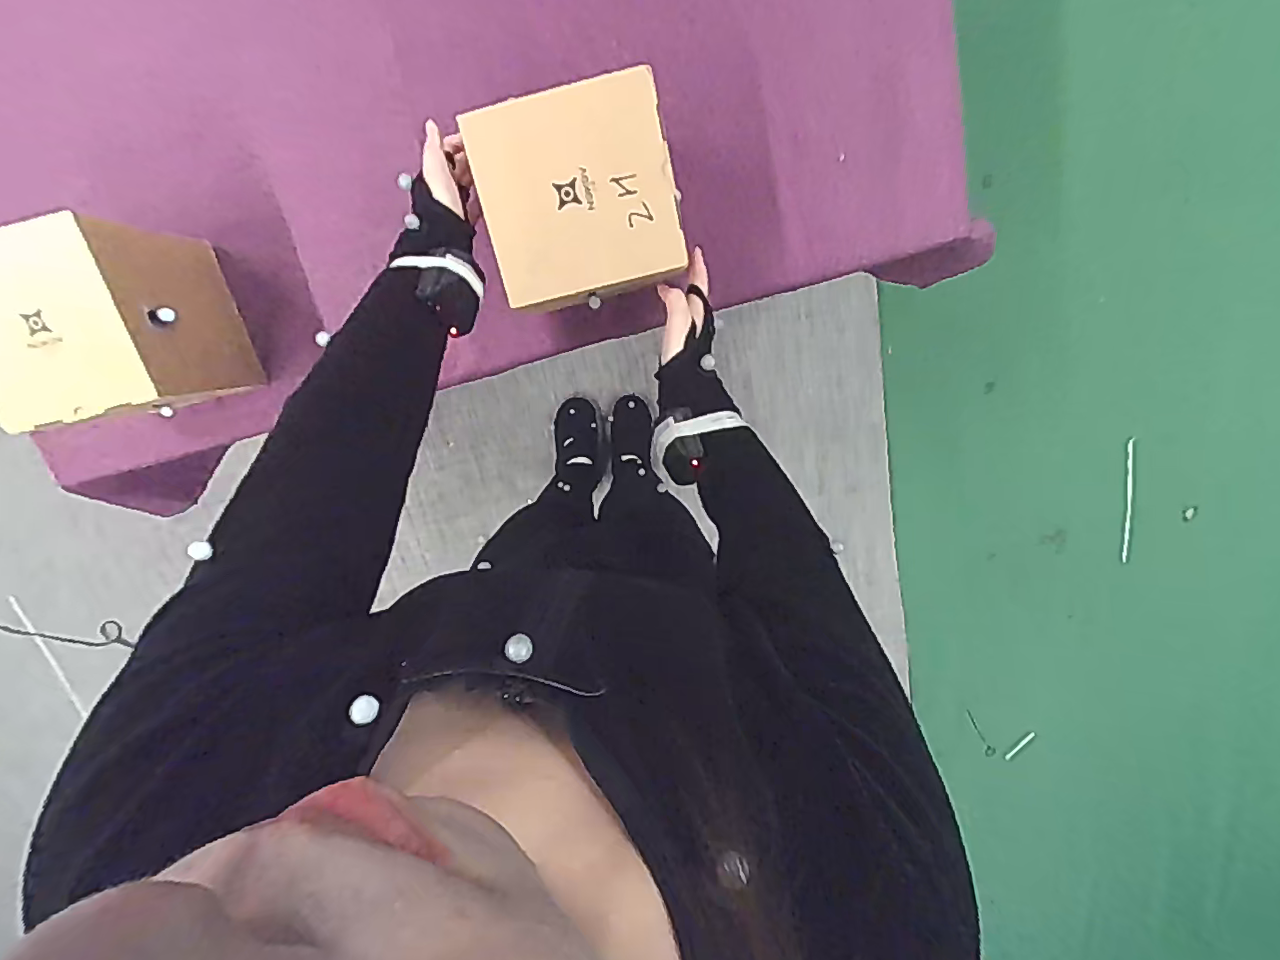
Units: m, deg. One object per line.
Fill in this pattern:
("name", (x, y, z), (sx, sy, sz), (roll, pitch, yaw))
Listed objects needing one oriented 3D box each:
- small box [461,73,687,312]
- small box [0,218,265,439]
("small box", (-0.056, -0.275, 0.563), (0.179, 0.176, 0.168), (-13, 106, 3))
("small box", (-0.564, -0.159, 0.587), (0.168, 0.176, 0.179), (-13, 106, 2))
